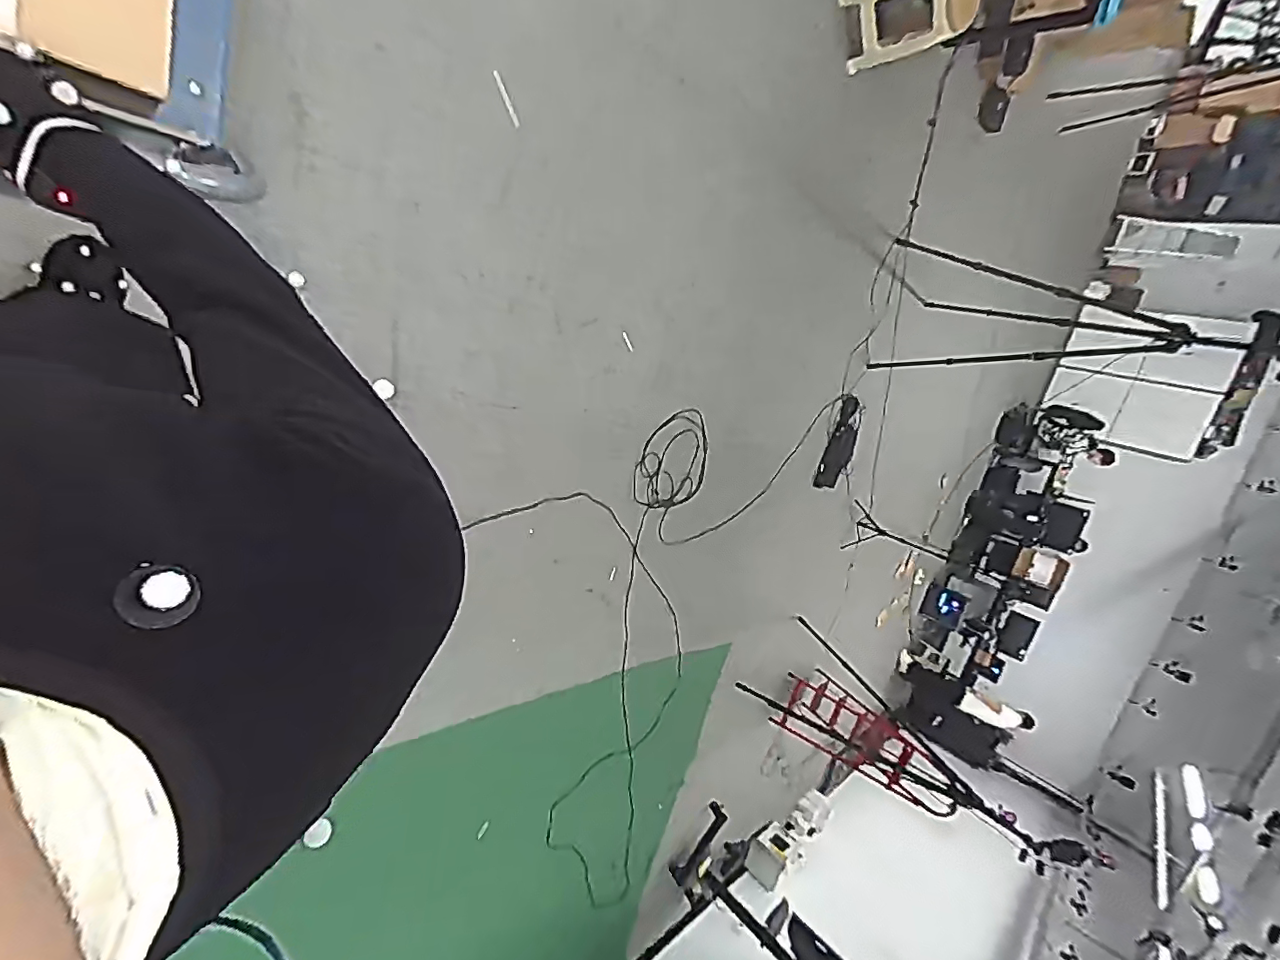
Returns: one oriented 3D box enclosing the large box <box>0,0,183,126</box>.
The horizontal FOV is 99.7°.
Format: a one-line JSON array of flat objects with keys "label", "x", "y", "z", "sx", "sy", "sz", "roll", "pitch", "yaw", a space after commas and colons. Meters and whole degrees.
[{"label": "large box", "x": -0.827, "y": -0.771, "z": 0.721, "sx": 0.320, "sy": 0.320, "sz": 0.408, "roll": 0, "pitch": 108, "yaw": -47}]
